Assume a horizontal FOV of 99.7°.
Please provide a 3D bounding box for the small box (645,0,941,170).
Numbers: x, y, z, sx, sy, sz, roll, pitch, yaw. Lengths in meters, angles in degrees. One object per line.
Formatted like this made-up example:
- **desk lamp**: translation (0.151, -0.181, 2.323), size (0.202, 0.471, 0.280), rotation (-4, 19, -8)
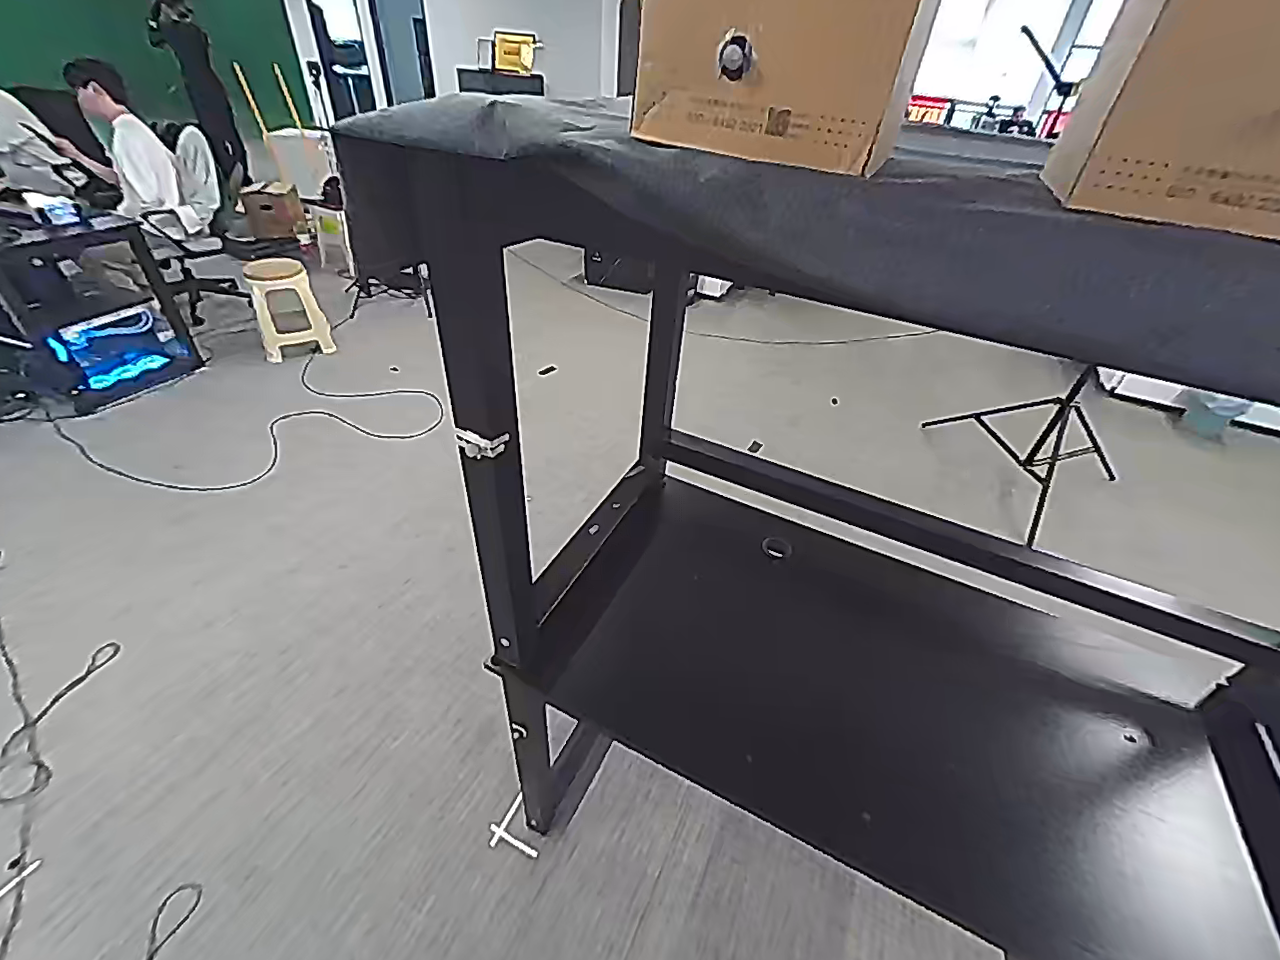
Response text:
- **small box**: translation (0.113, -0.328, 0.372), size (0.168, 0.176, 0.179), rotation (20, 40, 16)

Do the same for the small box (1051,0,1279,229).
- **small box**: translation (0.358, -0.240, 0.290), size (0.168, 0.176, 0.179), rotation (21, 39, 19)
